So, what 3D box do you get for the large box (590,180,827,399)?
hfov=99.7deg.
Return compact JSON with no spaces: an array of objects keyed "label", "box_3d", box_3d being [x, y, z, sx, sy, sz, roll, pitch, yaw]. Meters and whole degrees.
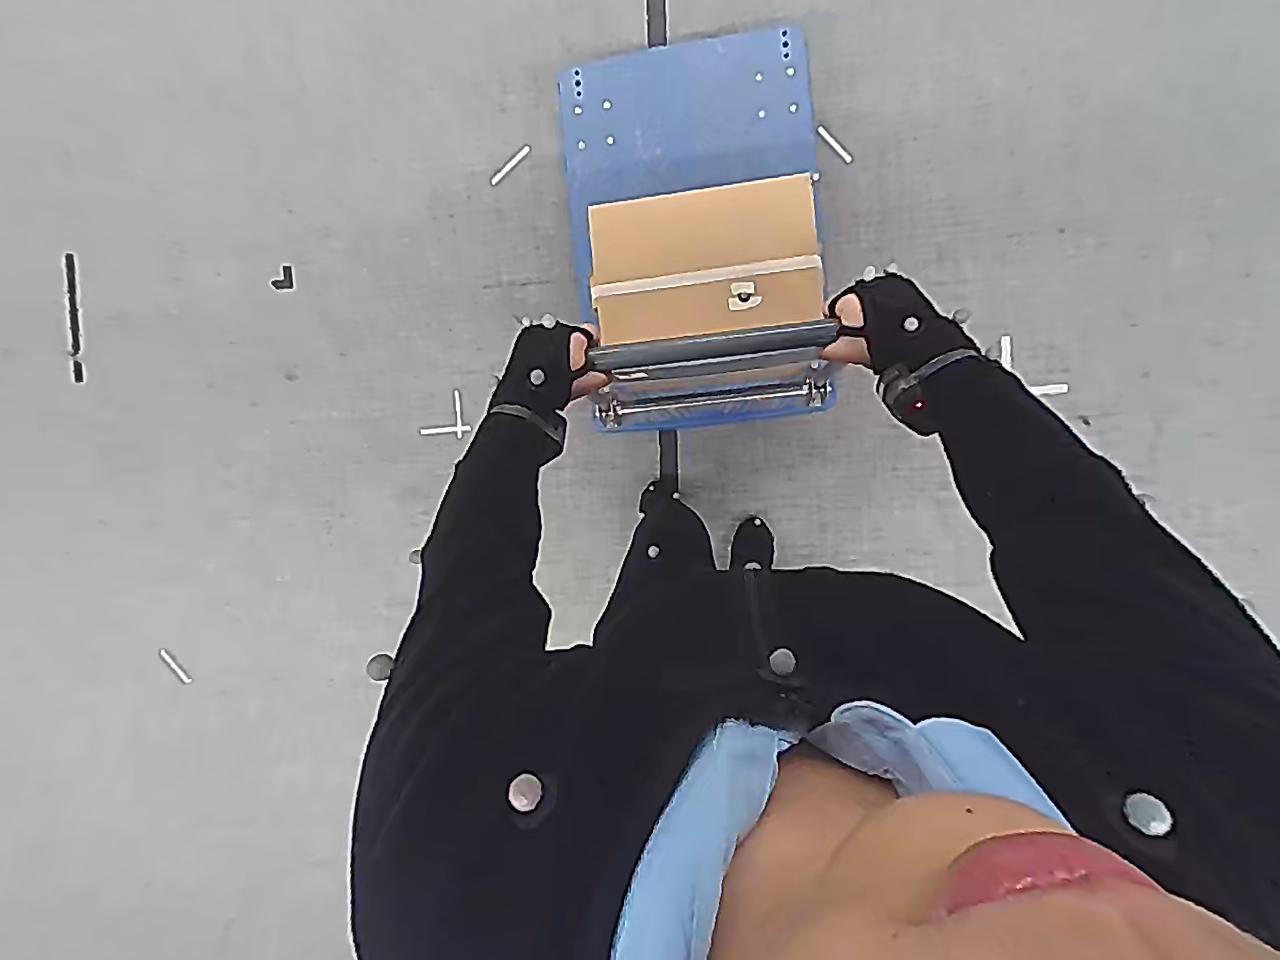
[{"label":"large box","box_3d":[0.134,-0.357,1.115,0.408,0.320,0.320,-5,93,6]}]
